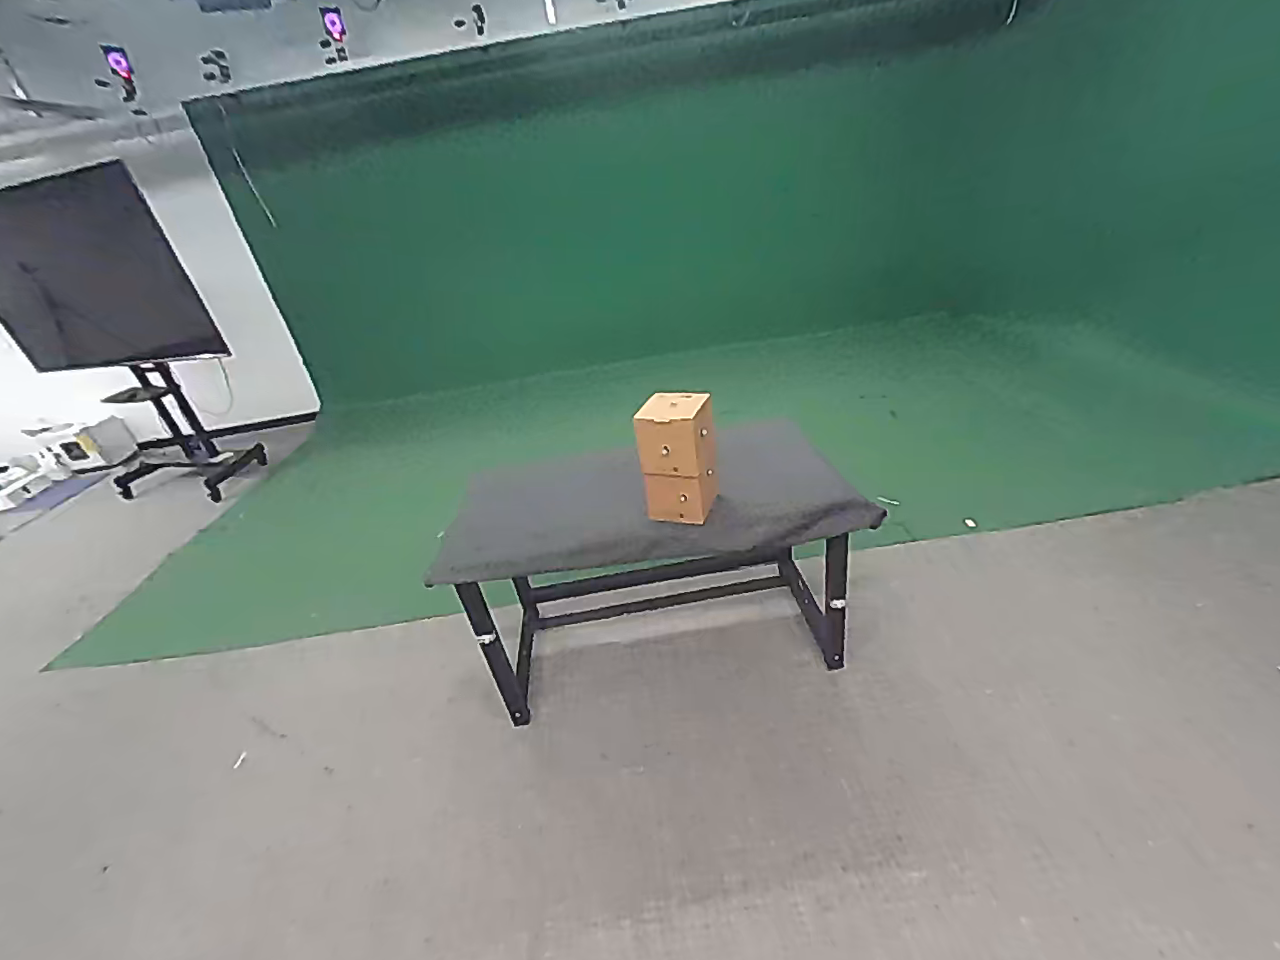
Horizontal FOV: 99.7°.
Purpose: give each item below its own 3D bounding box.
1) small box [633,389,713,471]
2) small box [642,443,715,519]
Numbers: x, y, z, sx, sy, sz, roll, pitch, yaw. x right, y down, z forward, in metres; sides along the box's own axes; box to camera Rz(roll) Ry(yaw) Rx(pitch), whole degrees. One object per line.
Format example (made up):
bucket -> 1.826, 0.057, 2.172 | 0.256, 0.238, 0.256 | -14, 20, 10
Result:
small box -> 0.099, -0.138, 1.489 | 0.168, 0.176, 0.179 | 6, 34, 22
small box -> 0.120, -0.004, 1.581 | 0.168, 0.176, 0.179 | 5, 32, 22
